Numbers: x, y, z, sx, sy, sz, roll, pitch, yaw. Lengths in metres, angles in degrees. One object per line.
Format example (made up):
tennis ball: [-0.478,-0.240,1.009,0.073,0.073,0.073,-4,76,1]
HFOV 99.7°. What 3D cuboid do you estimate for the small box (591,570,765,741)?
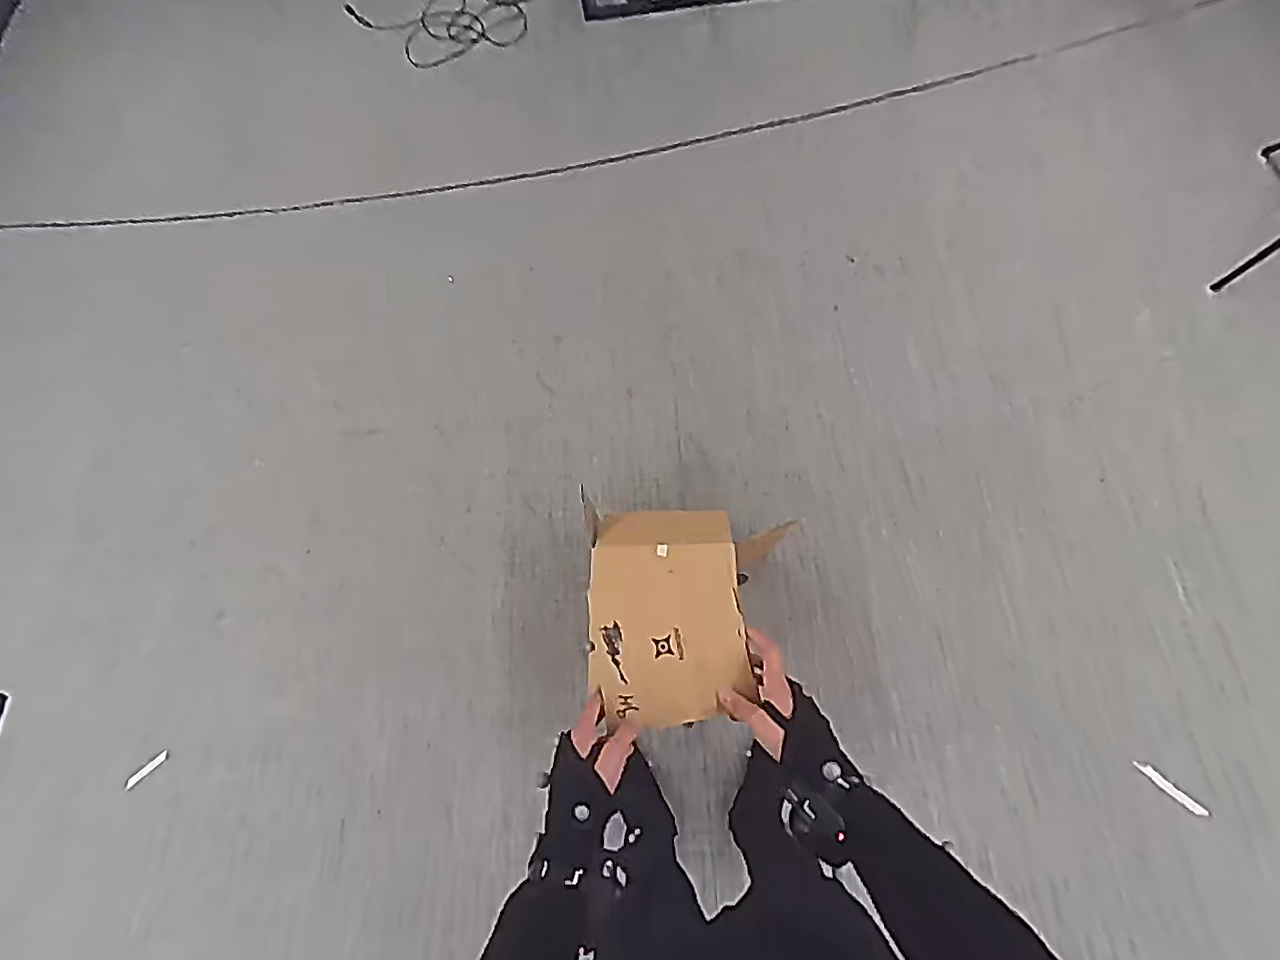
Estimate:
small box: [0.044,0.219,0.689,0.179,0.176,0.168,-11,71,1]
